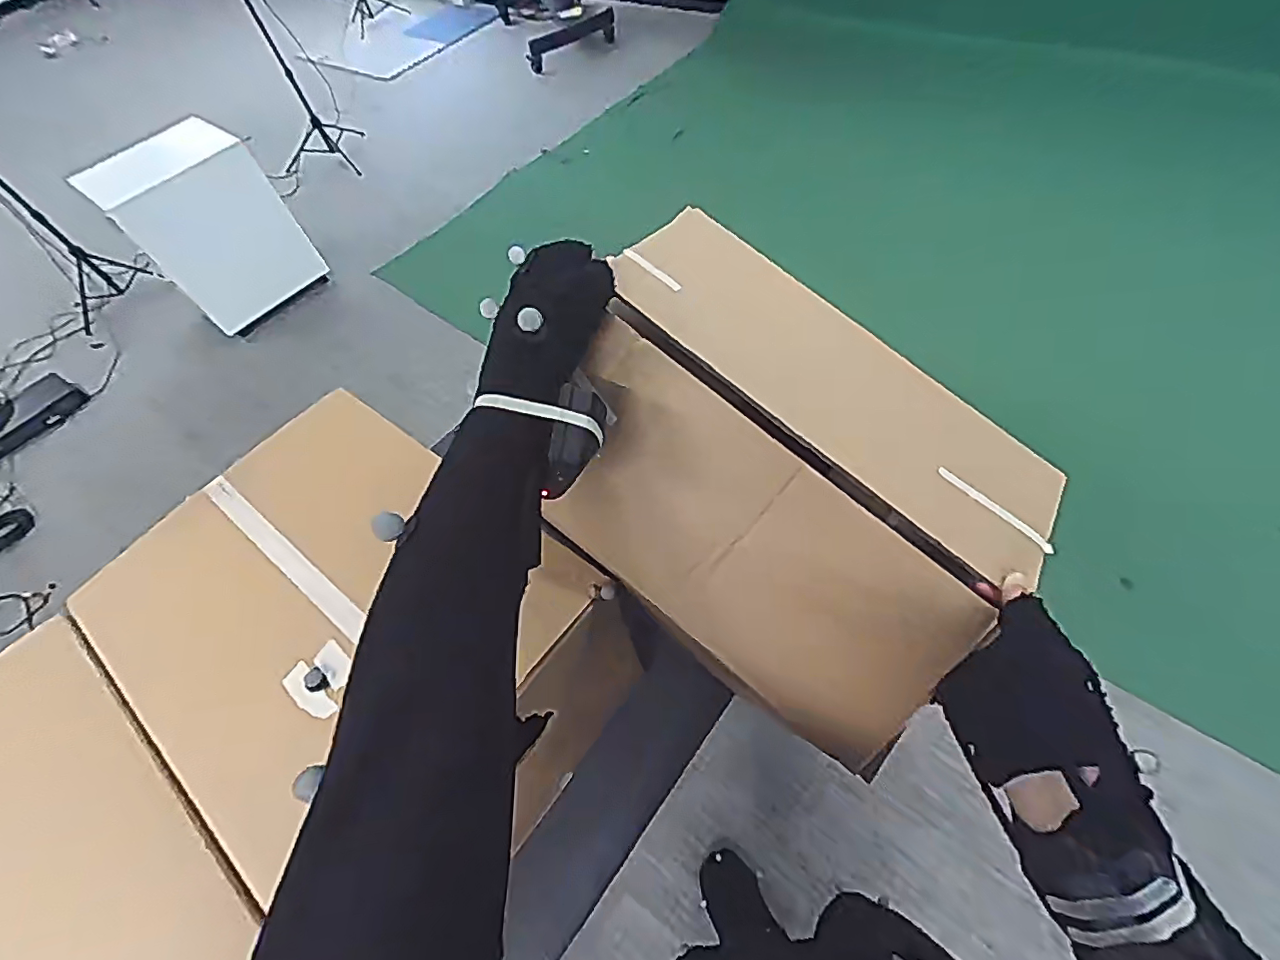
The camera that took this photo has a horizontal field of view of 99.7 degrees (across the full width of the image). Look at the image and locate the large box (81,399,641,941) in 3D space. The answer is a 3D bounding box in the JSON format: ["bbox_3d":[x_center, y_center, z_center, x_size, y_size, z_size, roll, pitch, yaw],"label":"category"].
[{"bbox_3d":[-0.255,0.181,0.602,0.408,0.320,0.320,31,66,23],"label":"large box"}]
